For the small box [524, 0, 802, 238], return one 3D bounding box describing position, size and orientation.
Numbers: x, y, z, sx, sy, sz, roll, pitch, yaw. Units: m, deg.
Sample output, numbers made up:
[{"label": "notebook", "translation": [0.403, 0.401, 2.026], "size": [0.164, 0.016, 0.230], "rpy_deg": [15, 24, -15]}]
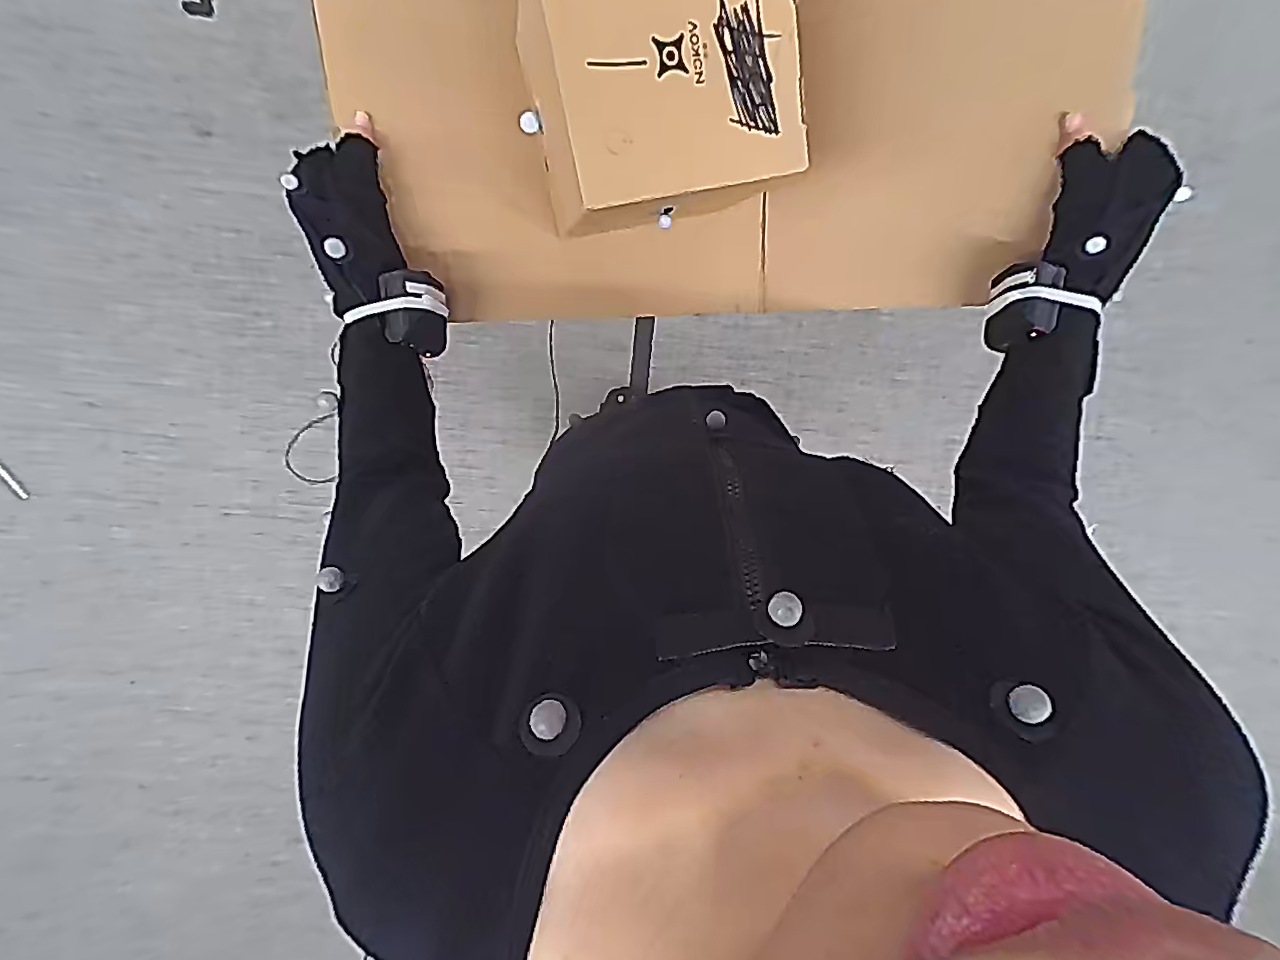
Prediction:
[{"label": "small box", "translation": [0.010, -0.311, 0.449], "size": [0.179, 0.176, 0.168], "rpy_deg": [-15, 109, -9]}]
